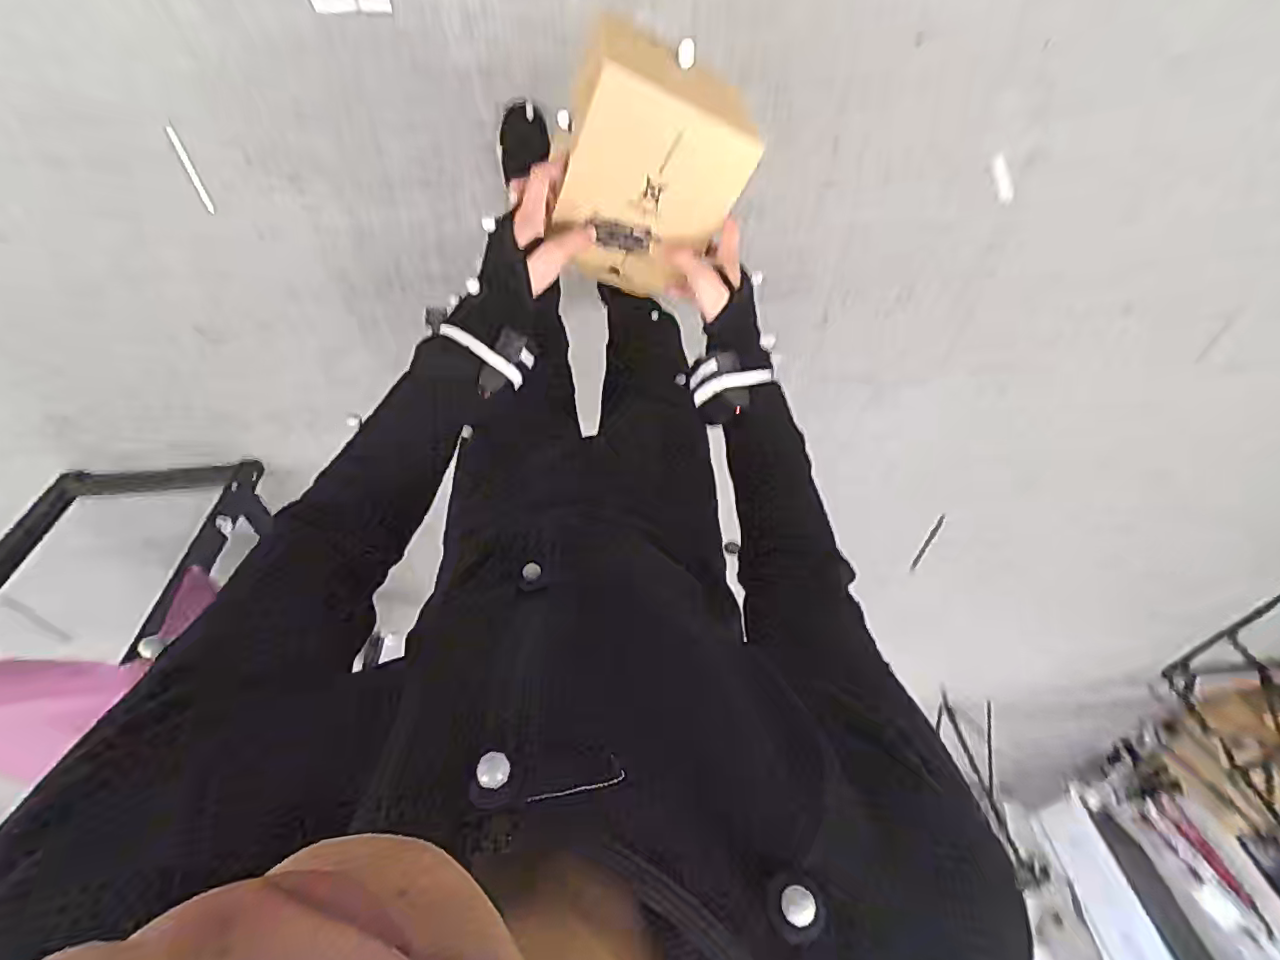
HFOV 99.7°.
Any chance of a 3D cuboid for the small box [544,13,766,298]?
[{"bbox_3d":[0.005,-0.337,0.577,0.168,0.176,0.179,12,140,-24],"label":"small box"}]
